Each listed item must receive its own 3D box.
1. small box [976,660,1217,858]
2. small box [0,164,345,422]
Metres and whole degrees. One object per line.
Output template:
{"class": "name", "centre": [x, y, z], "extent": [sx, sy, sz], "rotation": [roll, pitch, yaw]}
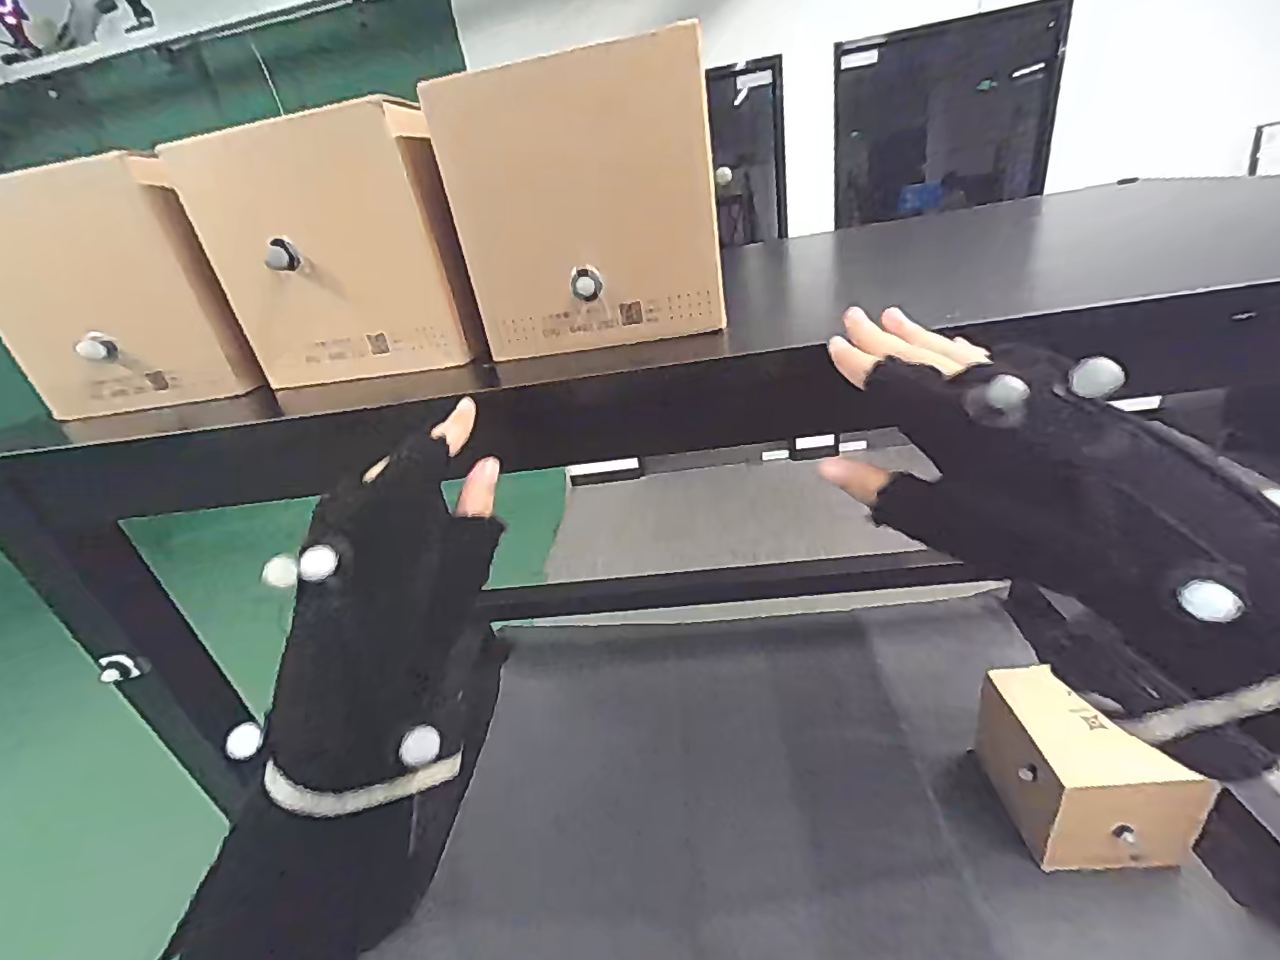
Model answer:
{"class": "small box", "centre": [0.575, 0.368, 0.712], "extent": [0.168, 0.176, 0.179], "rotation": [-7, 26, 6]}
{"class": "small box", "centre": [-0.391, -0.163, 0.469], "extent": [0.168, 0.176, 0.179], "rotation": [-7, 28, 6]}
